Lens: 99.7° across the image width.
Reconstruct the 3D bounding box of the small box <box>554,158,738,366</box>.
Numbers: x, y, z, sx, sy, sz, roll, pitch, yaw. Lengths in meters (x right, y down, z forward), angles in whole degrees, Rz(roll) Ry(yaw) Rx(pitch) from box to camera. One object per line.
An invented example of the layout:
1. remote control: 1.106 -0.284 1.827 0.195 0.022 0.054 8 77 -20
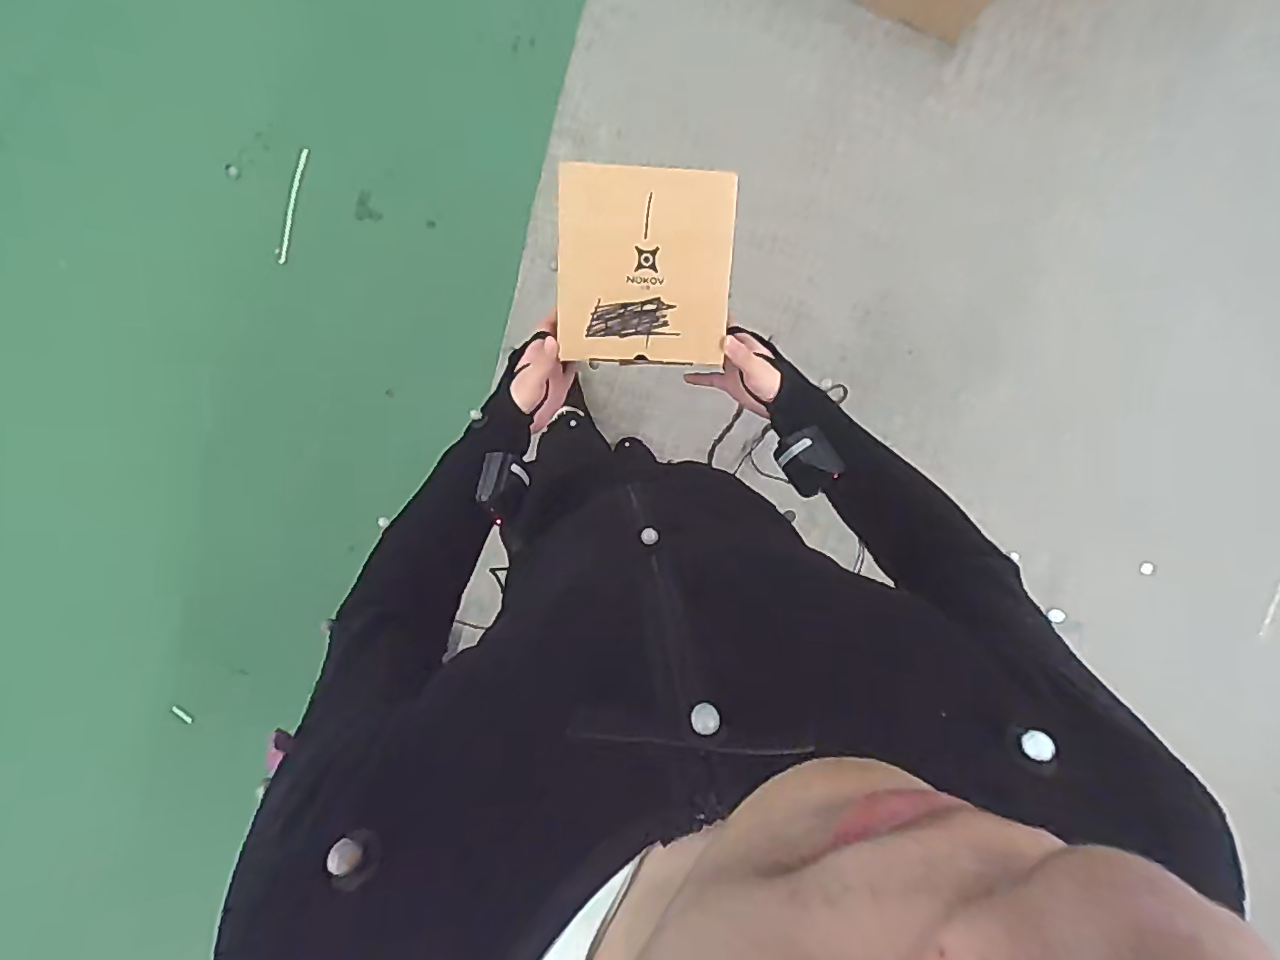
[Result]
1. small box: 0.000 -0.221 0.587 0.168 0.176 0.179 2 104 -4
